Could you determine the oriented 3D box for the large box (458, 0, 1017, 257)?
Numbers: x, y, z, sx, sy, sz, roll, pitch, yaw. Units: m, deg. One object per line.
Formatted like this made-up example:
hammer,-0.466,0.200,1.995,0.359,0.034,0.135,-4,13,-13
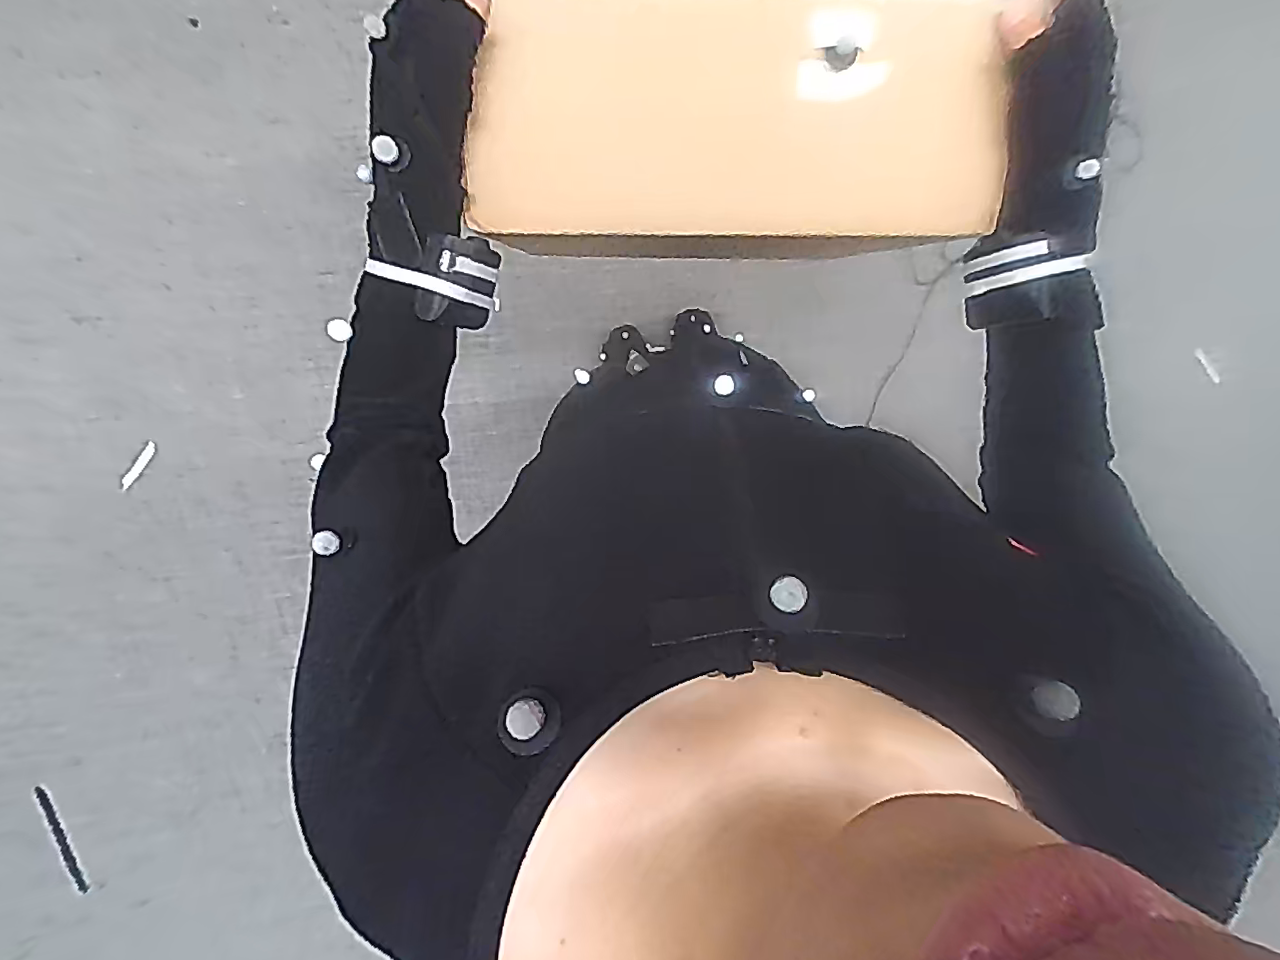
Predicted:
large box,0.063,-0.394,0.516,0.408,0.320,0.320,-1,109,-3
